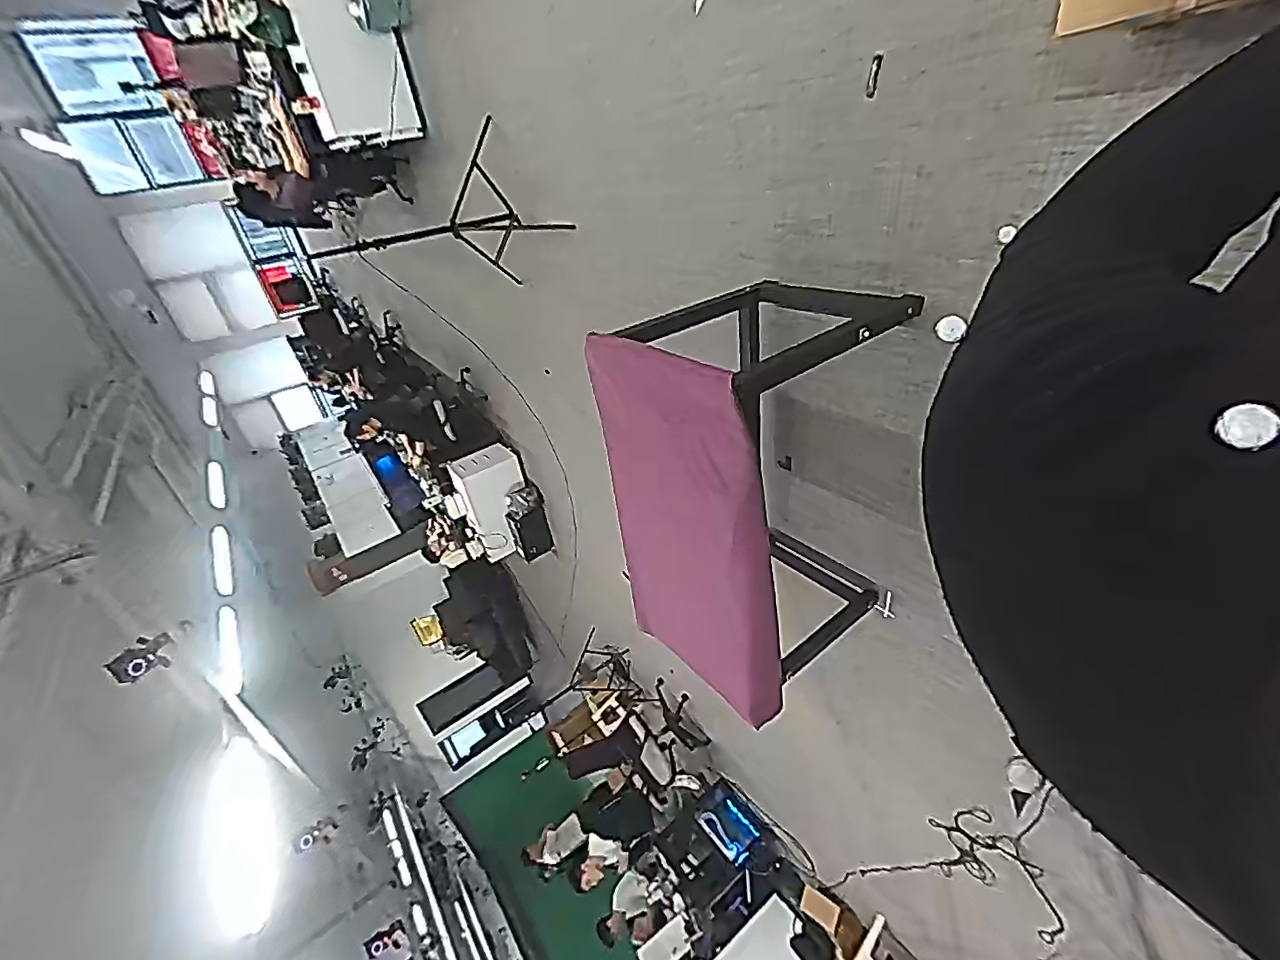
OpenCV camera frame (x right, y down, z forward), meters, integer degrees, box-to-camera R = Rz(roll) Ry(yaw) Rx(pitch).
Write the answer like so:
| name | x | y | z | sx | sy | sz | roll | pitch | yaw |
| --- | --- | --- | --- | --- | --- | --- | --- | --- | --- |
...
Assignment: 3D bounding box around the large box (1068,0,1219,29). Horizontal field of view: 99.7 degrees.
| name | x | y | z | sx | sy | sz | roll | pitch | yaw |
| --- | --- | --- | --- | --- | --- | --- | --- | --- | --- |
| large box | 0.825 | -0.877 | 0.685 | 0.320 | 0.320 | 0.408 | 29 | 140 | 49 |
